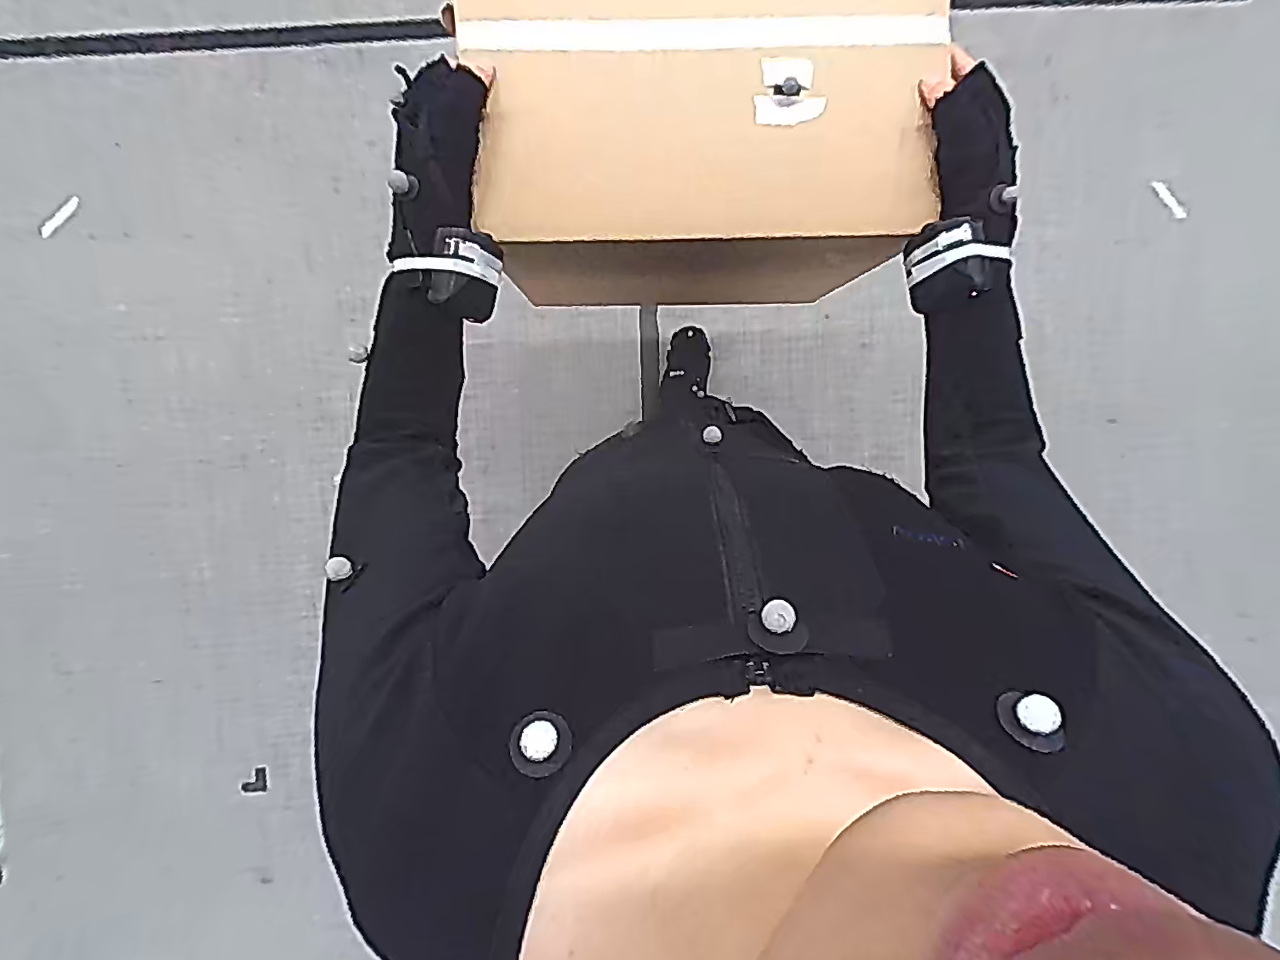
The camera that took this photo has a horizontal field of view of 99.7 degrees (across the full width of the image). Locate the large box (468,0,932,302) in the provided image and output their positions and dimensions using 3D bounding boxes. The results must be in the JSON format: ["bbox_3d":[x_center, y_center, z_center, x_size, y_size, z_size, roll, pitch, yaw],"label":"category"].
[{"bbox_3d":[0.047,-0.396,0.612,0.408,0.320,0.320,-2,98,-2],"label":"large box"}]
